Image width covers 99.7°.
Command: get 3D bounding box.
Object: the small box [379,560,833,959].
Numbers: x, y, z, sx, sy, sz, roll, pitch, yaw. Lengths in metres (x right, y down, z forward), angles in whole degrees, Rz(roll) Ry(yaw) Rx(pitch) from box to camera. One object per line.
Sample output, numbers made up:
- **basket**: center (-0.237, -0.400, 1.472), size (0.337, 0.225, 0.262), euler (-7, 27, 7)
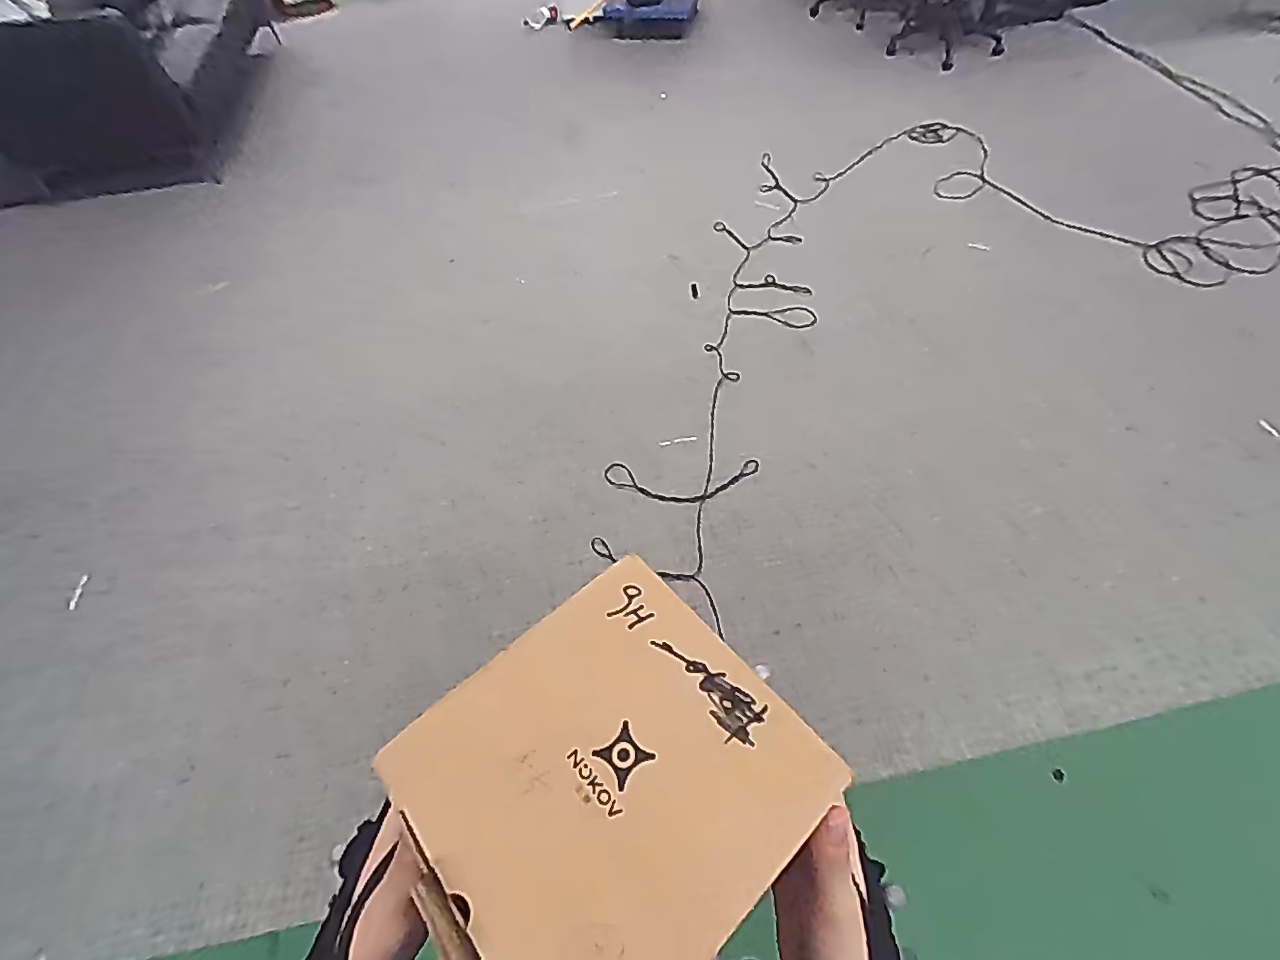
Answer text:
- **small box**: center (-0.015, 0.191, 0.336), size (0.179, 0.176, 0.168), euler (-37, 61, -21)
